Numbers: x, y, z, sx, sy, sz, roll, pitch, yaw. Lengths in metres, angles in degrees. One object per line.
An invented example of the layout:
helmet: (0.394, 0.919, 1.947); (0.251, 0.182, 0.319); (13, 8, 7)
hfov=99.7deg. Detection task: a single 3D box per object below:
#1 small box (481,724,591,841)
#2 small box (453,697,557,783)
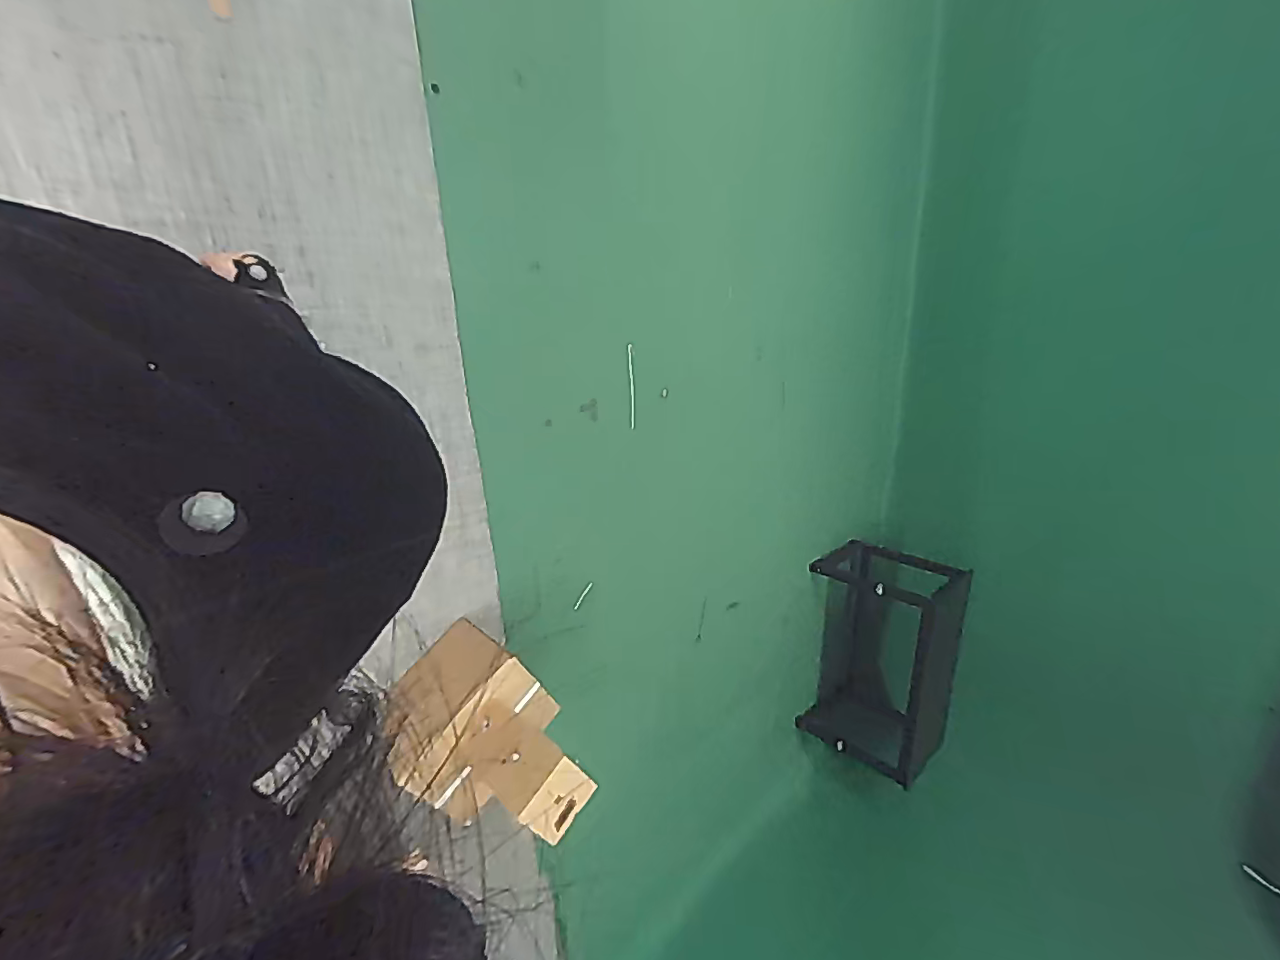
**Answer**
small box: (-0.261, 0.749, 1.353); (0.168, 0.176, 0.179); (-47, 128, -26)
small box: (-0.369, 0.726, 1.475); (0.168, 0.176, 0.179); (-51, 131, -22)
